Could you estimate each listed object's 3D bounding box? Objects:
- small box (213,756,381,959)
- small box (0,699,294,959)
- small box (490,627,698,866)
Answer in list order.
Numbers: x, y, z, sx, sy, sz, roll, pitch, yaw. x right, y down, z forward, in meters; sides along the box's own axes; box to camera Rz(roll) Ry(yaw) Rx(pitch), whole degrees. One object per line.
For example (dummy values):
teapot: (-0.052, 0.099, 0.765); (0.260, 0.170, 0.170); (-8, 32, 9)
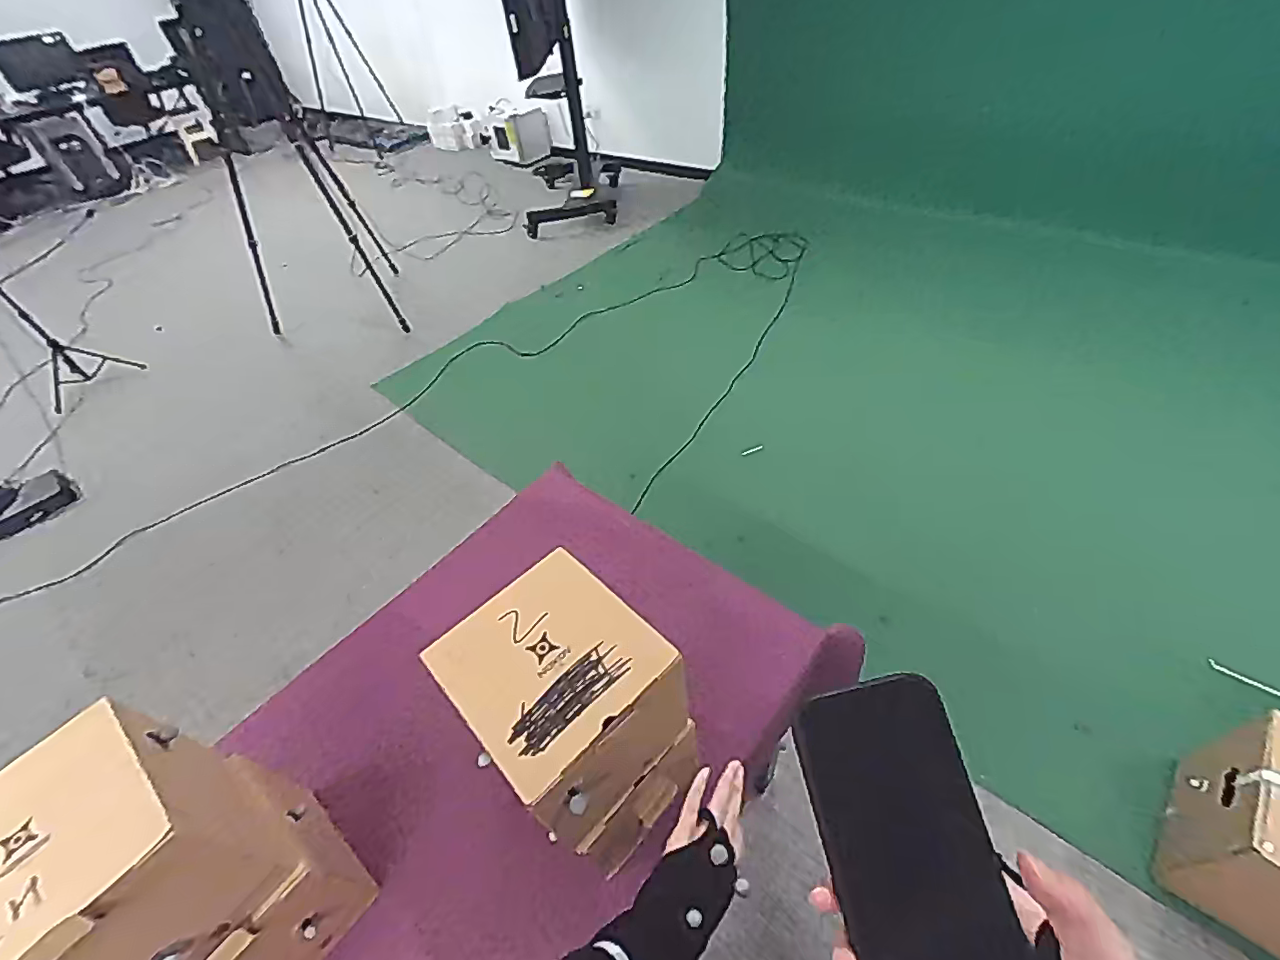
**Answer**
small box: (-0.423, 0.448, 0.590); (0.179, 0.176, 0.168); (27, 55, 30)
small box: (-0.454, 0.337, 0.471); (0.179, 0.176, 0.168); (27, 56, 30)
small box: (-0.047, 0.322, 0.653); (0.179, 0.176, 0.168); (33, 59, 32)
